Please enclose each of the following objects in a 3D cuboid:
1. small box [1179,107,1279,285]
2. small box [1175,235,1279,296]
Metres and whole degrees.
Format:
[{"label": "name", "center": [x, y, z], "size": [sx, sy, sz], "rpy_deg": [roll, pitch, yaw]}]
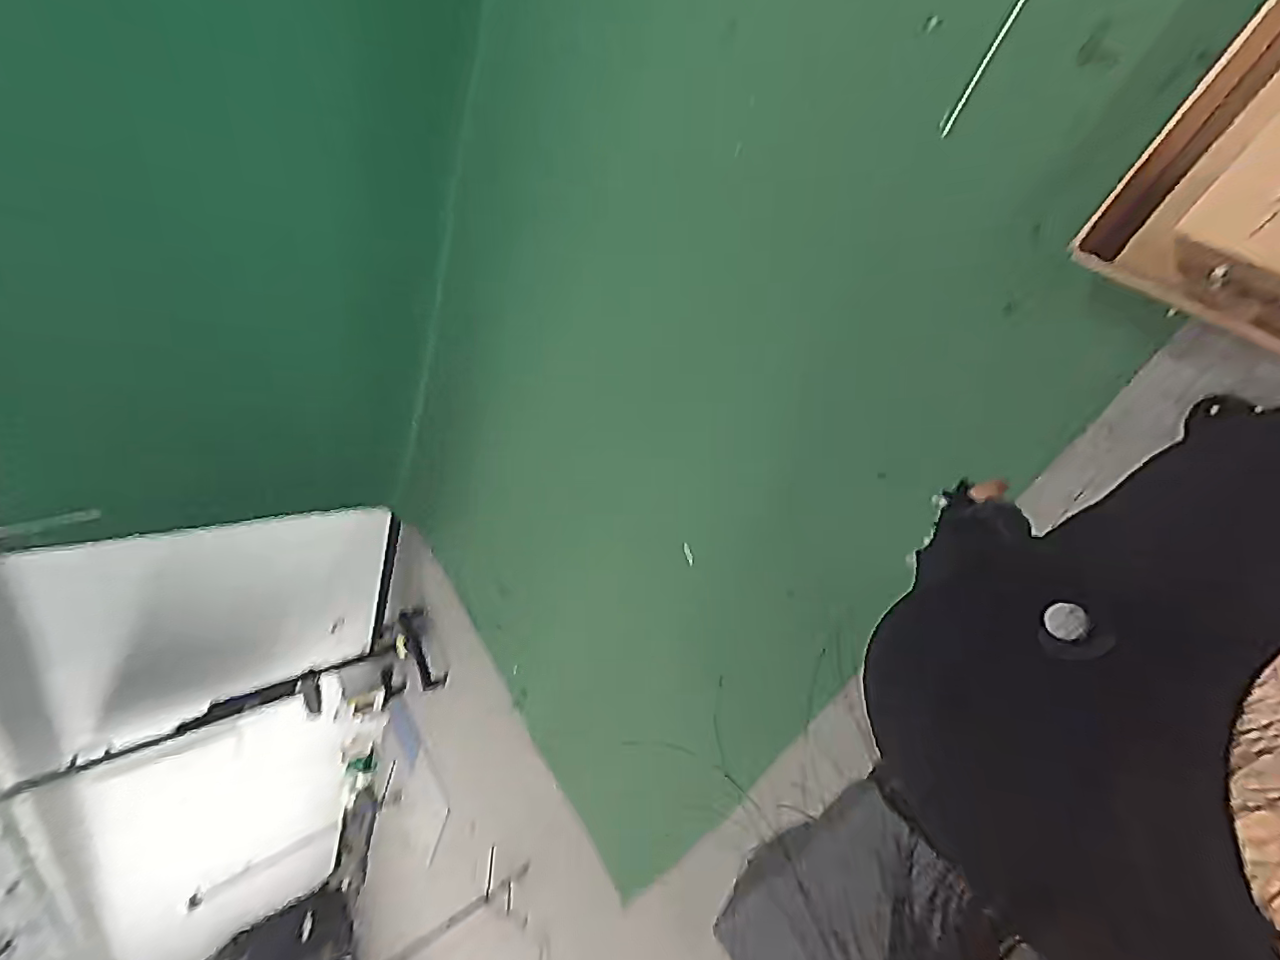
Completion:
[{"label": "small box", "center": [0.903, -0.392, 0.745], "size": [0.168, 0.176, 0.179], "rpy_deg": [48, 128, 30]}, {"label": "small box", "center": [1.019, -0.413, 0.861], "size": [0.168, 0.176, 0.179], "rpy_deg": [46, 126, 30]}]
